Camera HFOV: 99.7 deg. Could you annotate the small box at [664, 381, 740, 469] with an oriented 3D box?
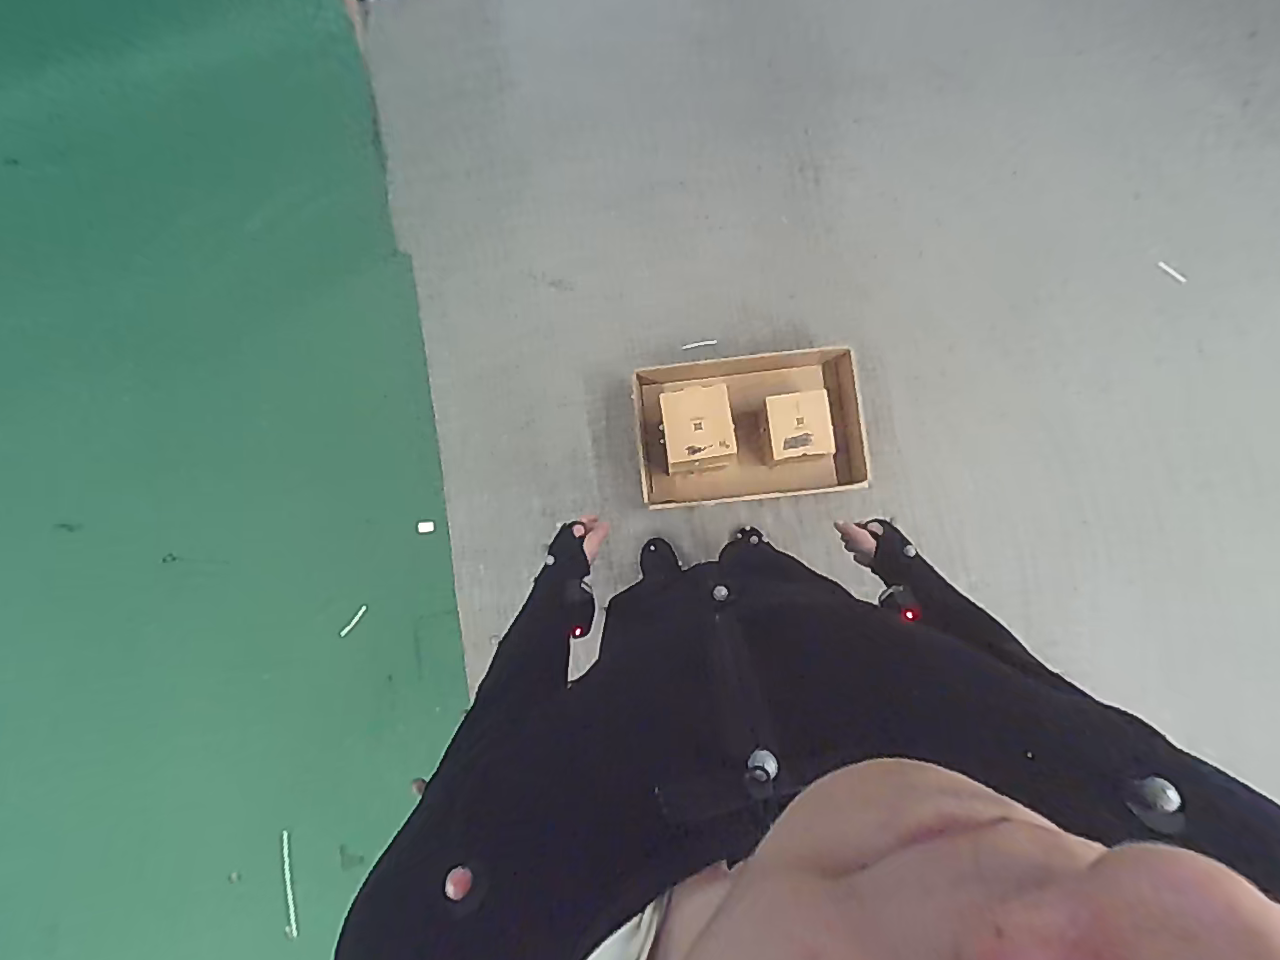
[{"bbox_3d":[0.152,-0.132,1.362,0.168,0.176,0.179,-8,84,4],"label":"small box"}]
